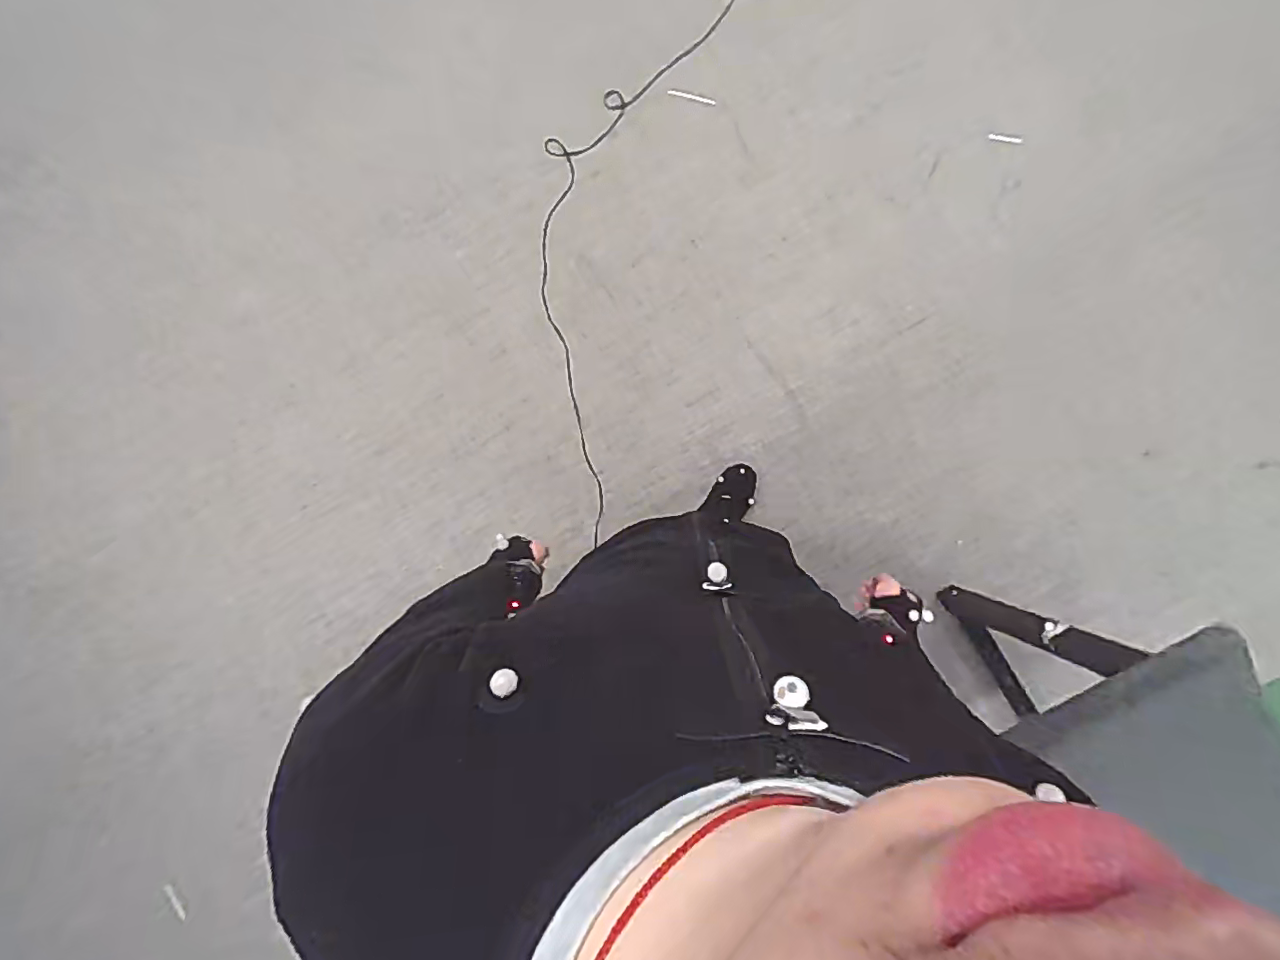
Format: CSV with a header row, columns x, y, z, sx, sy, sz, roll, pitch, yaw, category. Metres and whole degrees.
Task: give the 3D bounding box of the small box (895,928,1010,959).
x,y,z,sx,sy,sz,roll,pitch,yaw,category
0.474,0.763,0.731,0.168,0.176,0.179,-30,90,3,small box
